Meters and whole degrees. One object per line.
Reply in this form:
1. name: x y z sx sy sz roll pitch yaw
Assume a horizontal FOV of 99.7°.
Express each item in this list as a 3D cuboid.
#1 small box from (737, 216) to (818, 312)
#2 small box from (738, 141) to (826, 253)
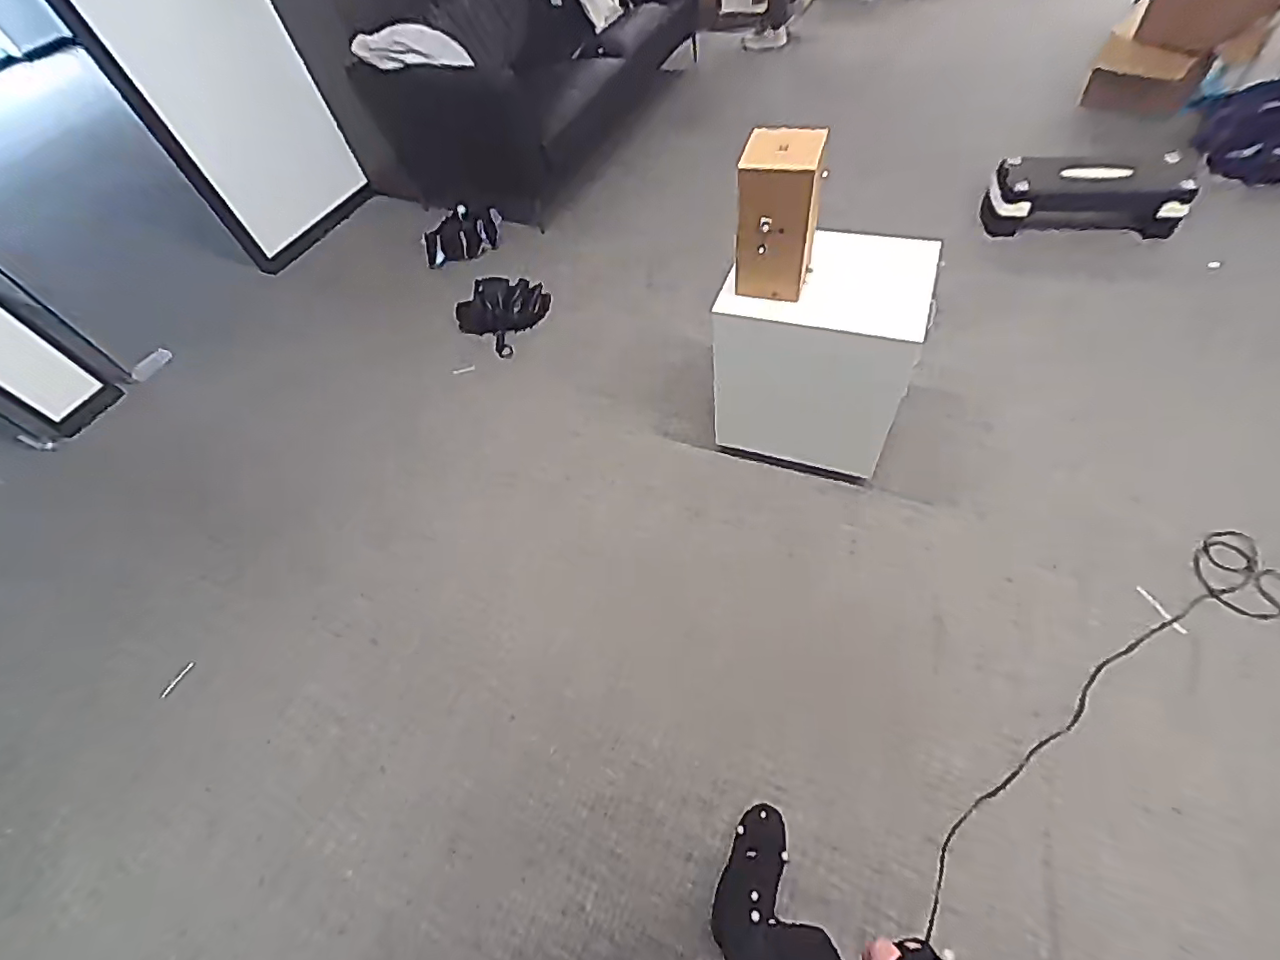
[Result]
1. small box: 0.344 -0.556 1.373 0.168 0.176 0.179 13 57 17
2. small box: 0.322 -0.649 1.241 0.168 0.176 0.179 10 58 17
